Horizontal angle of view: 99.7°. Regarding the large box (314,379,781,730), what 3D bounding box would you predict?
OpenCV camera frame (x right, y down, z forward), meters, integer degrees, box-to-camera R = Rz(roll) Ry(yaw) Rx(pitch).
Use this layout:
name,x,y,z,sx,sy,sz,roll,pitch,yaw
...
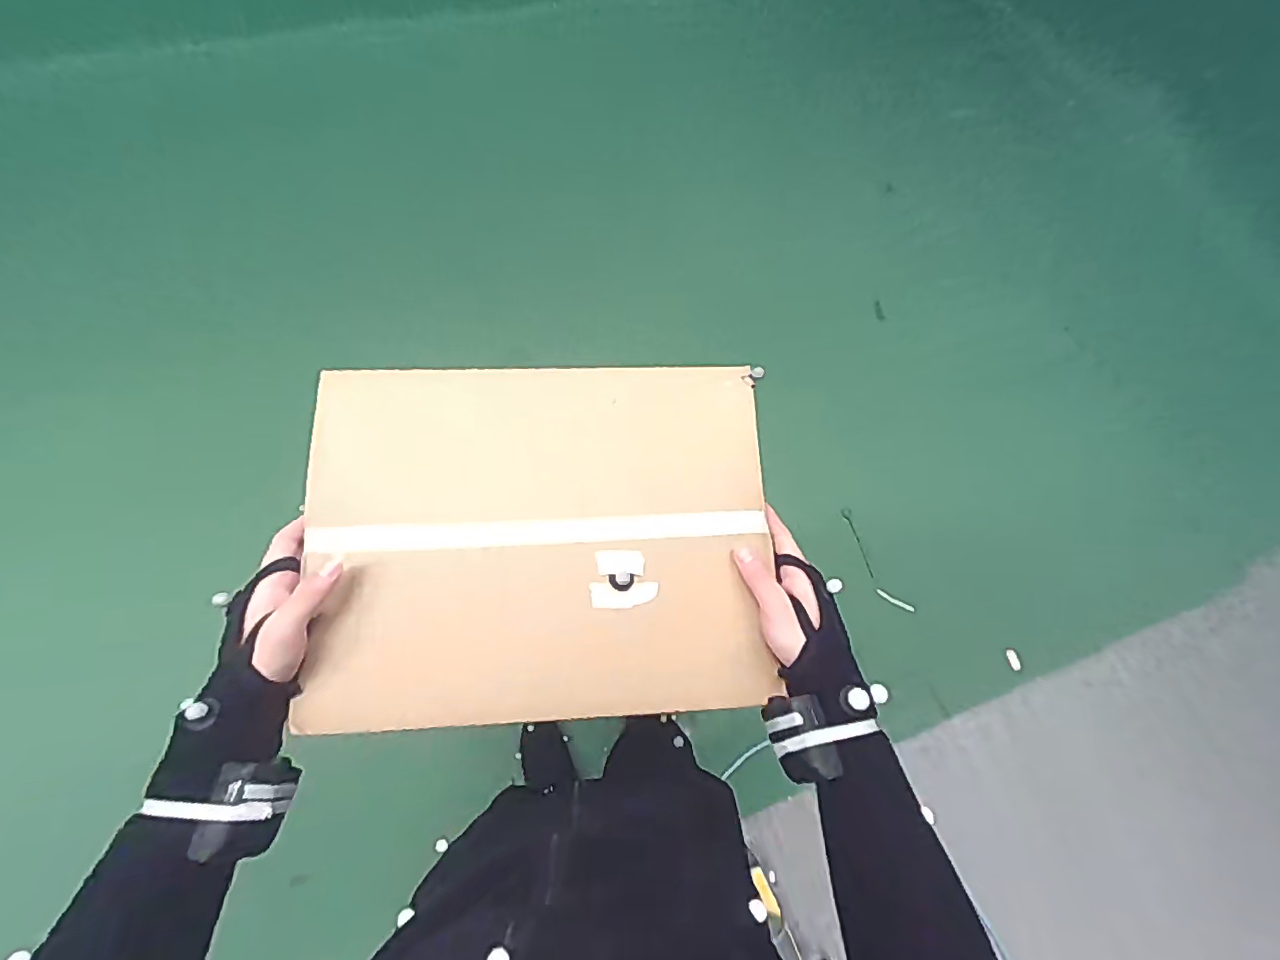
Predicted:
name,x,y,z,sx,sy,sz,roll,pitch,yaw
large box,-0.093,0.087,0.639,0.408,0.320,0.320,-1,76,-6
